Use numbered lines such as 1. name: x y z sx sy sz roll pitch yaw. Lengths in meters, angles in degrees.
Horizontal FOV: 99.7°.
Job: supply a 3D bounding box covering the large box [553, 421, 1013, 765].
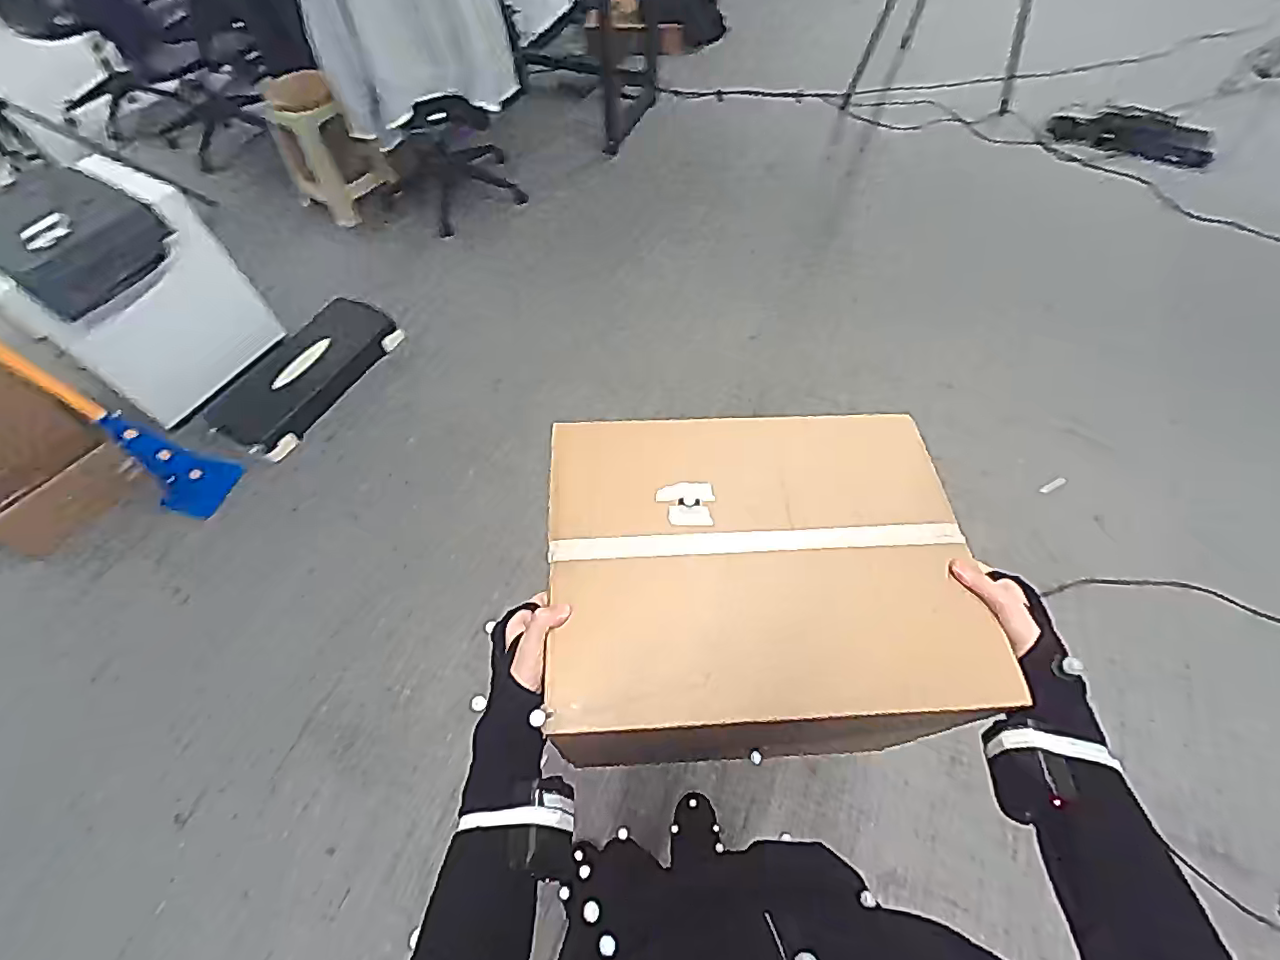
1. large box: 0.116 0.150 0.659 0.408 0.320 0.320 -3 56 -3
